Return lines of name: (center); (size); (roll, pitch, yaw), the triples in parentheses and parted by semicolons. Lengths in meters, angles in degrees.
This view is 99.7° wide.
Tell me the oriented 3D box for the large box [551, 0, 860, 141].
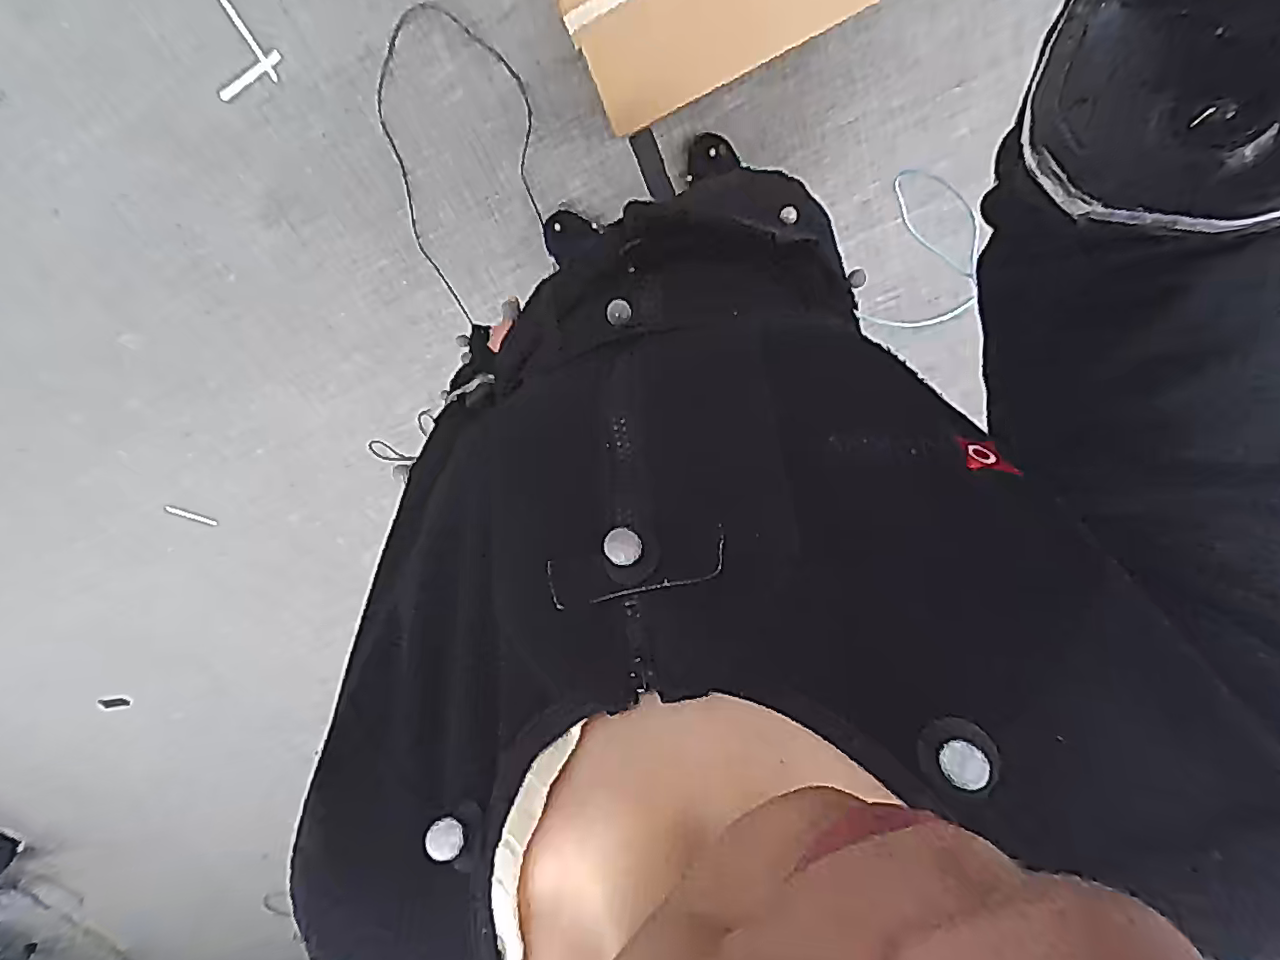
large box: (0.070, -0.786, 0.838); (0.408, 0.320, 0.320); (-22, 120, 13)
